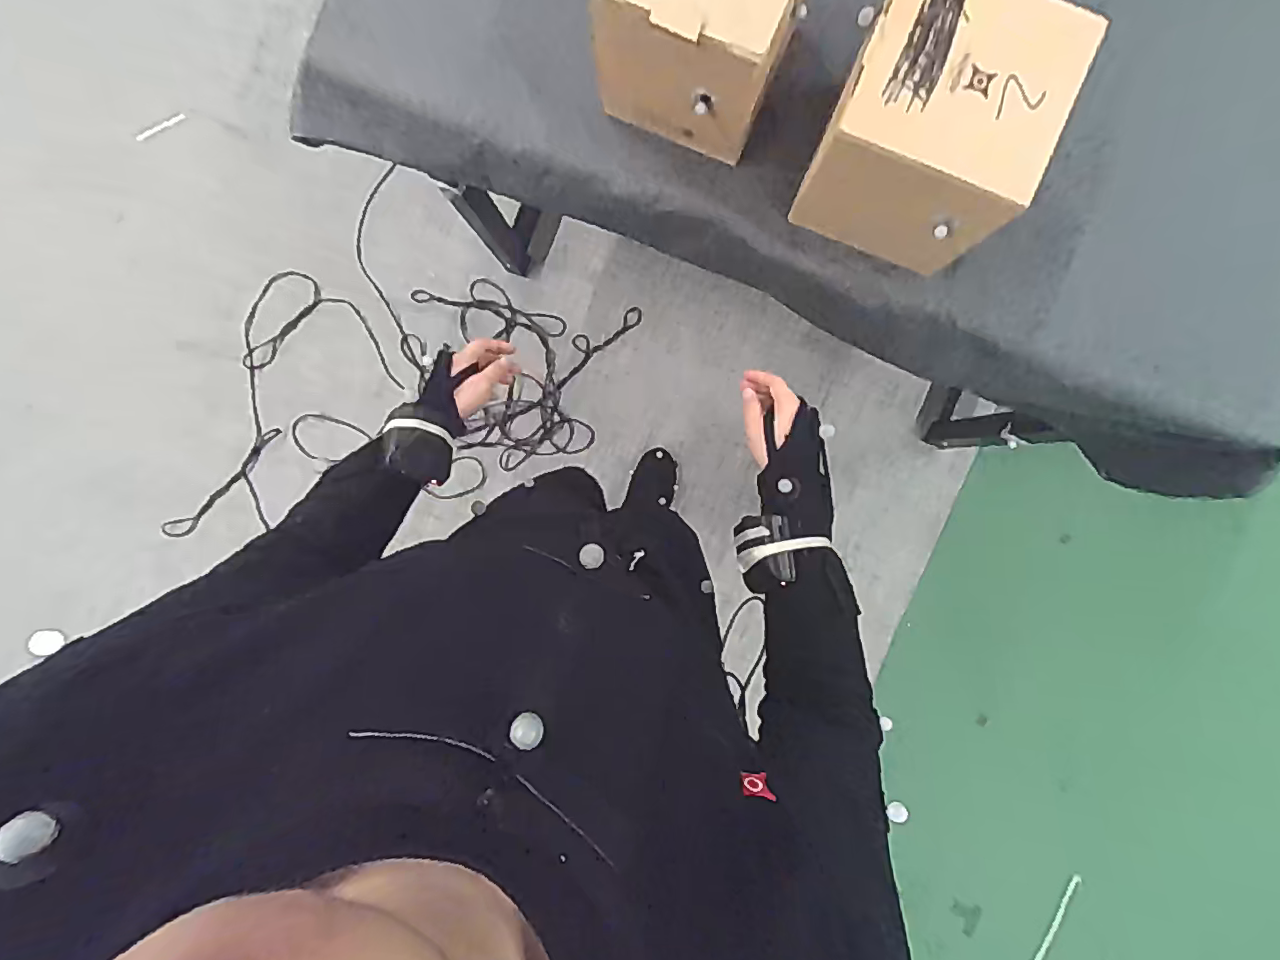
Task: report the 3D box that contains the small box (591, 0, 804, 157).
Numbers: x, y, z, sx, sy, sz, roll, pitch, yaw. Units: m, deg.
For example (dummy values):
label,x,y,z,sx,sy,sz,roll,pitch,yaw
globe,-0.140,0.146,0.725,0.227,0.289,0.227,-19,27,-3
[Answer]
label,x,y,z,sx,sy,sz,roll,pitch,yaw
small box,0.067,-0.466,0.533,0.168,0.176,0.179,23,91,0
